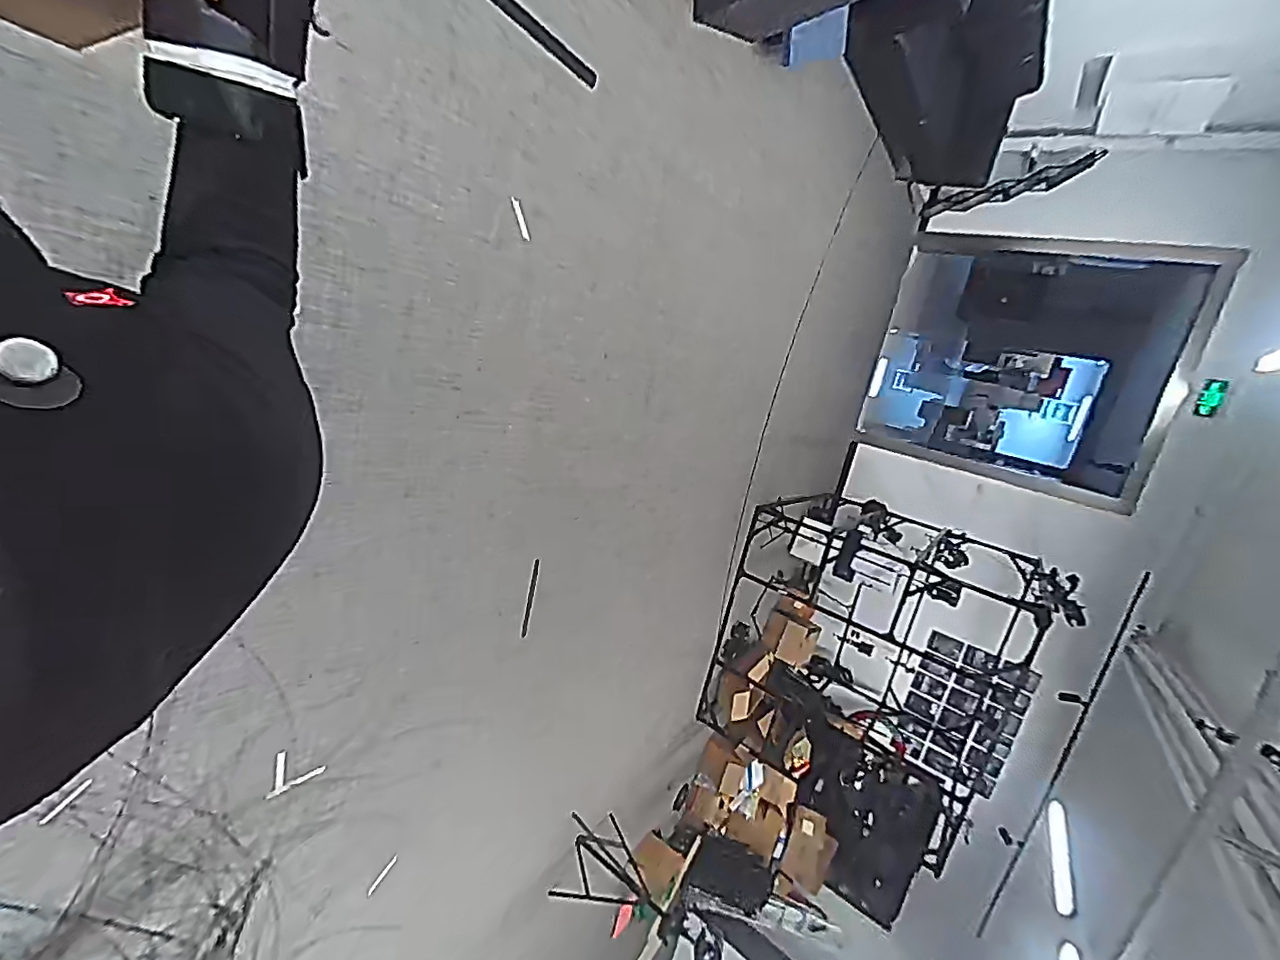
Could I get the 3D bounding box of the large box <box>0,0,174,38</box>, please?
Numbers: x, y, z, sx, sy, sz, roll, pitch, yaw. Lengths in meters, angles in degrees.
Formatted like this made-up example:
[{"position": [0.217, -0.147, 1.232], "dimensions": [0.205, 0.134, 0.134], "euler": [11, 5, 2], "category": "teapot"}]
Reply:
[{"position": [-0.451, -0.470, 0.203], "dimensions": [0.408, 0.320, 0.320], "euler": [-5, 113, -57], "category": "large box"}]
